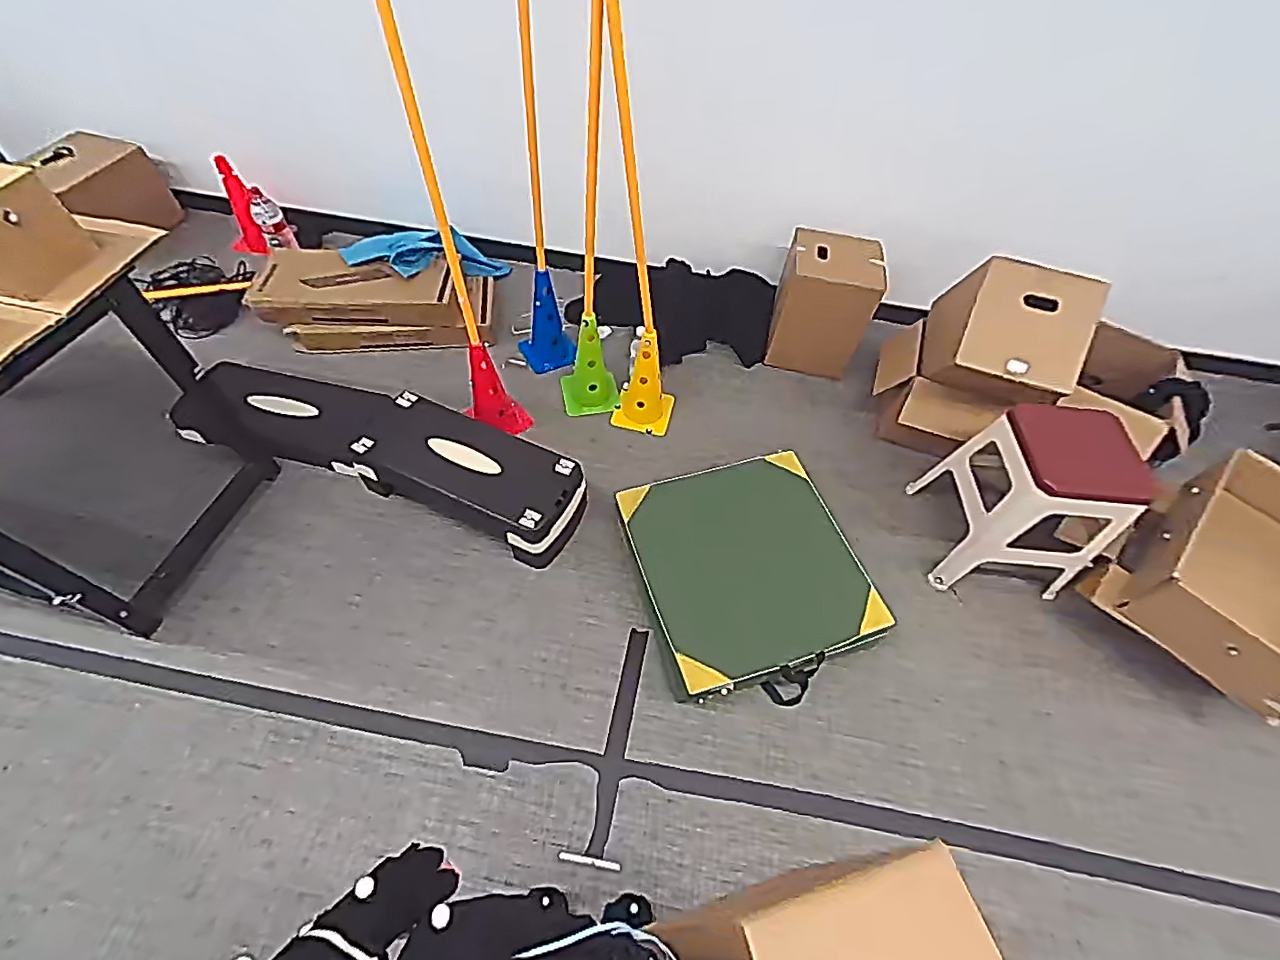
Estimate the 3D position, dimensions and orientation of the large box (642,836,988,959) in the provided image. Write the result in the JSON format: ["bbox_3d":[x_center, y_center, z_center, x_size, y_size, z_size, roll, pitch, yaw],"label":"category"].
[{"bbox_3d":[0.235,0.718,0.710,0.320,0.408,0.320,-4,52,-21],"label":"large box"}]
